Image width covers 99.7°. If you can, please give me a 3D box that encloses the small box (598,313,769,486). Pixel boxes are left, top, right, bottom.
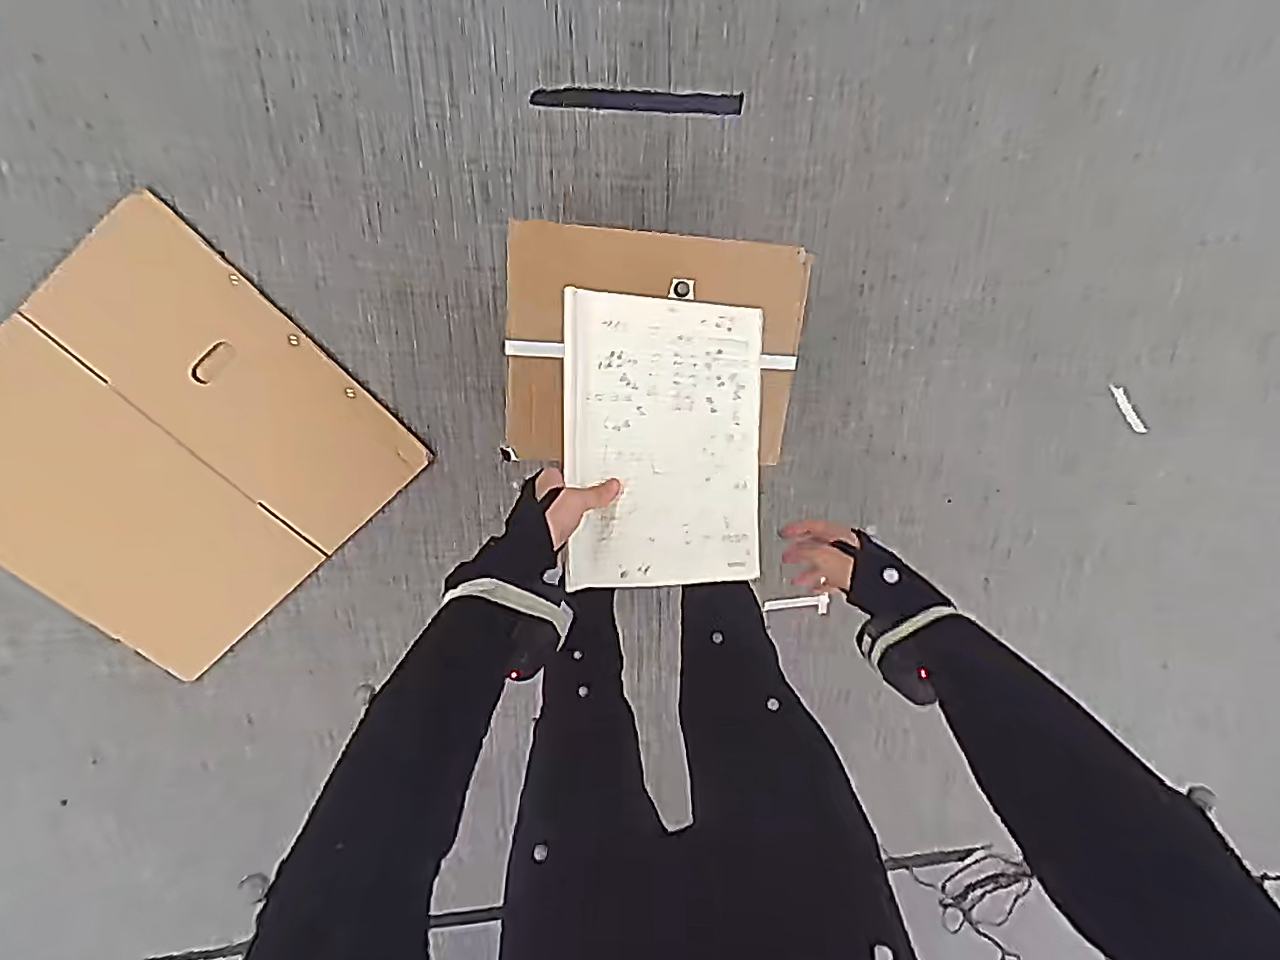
[{"bbox_3d":[0.039,-0.106,0.668,0.168,0.176,0.179,4,106,-10],"label":"small box"}]
